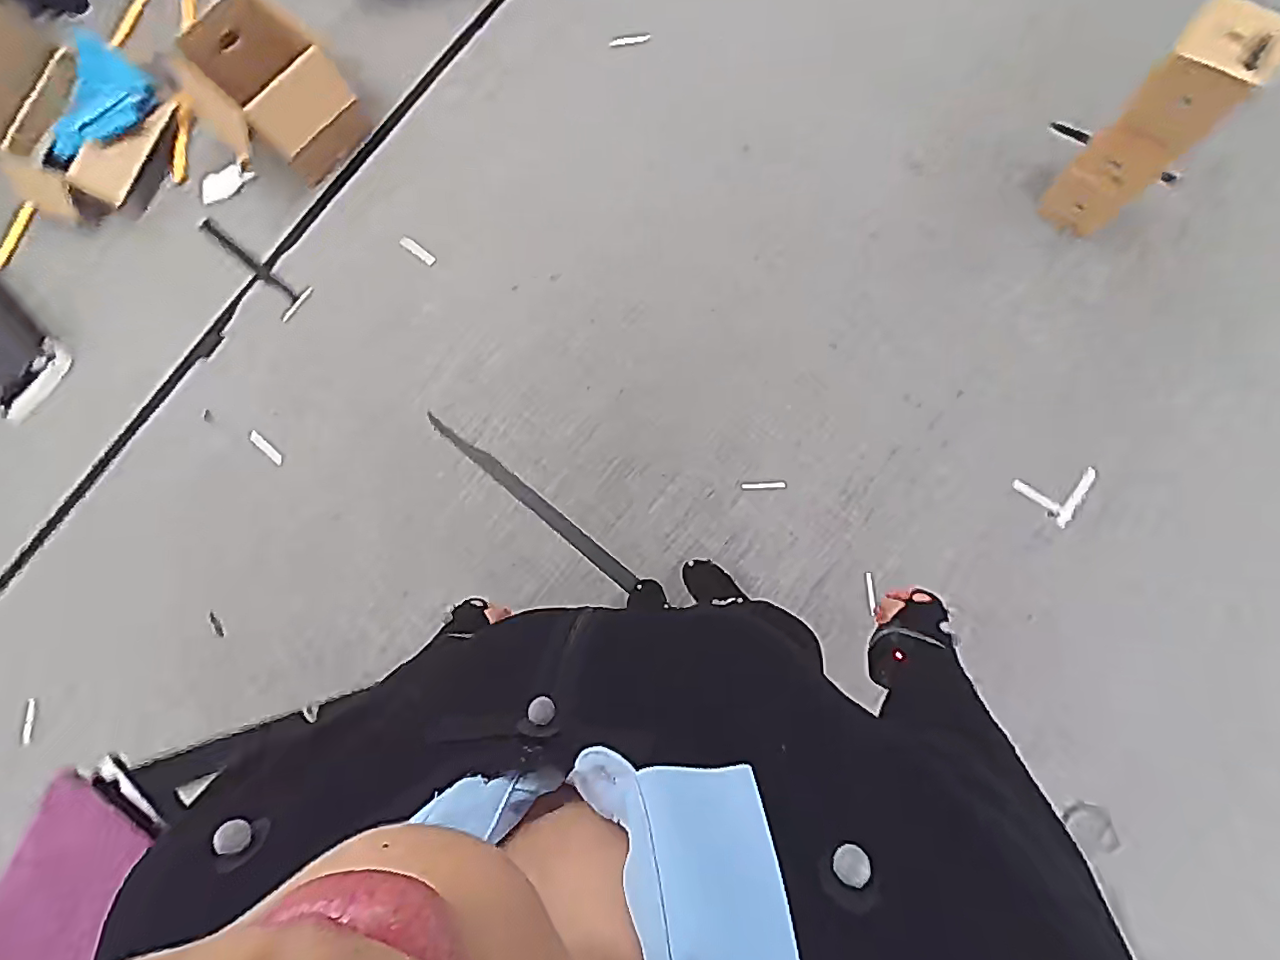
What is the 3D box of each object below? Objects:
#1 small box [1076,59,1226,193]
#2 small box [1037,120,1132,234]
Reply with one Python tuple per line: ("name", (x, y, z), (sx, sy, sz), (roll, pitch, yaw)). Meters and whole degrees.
("small box", (1.218, -0.845, 1.306), (0.168, 0.176, 0.179), (37, 87, 12))
("small box", (1.230, -0.811, 1.465), (0.168, 0.176, 0.179), (35, 85, 12))
